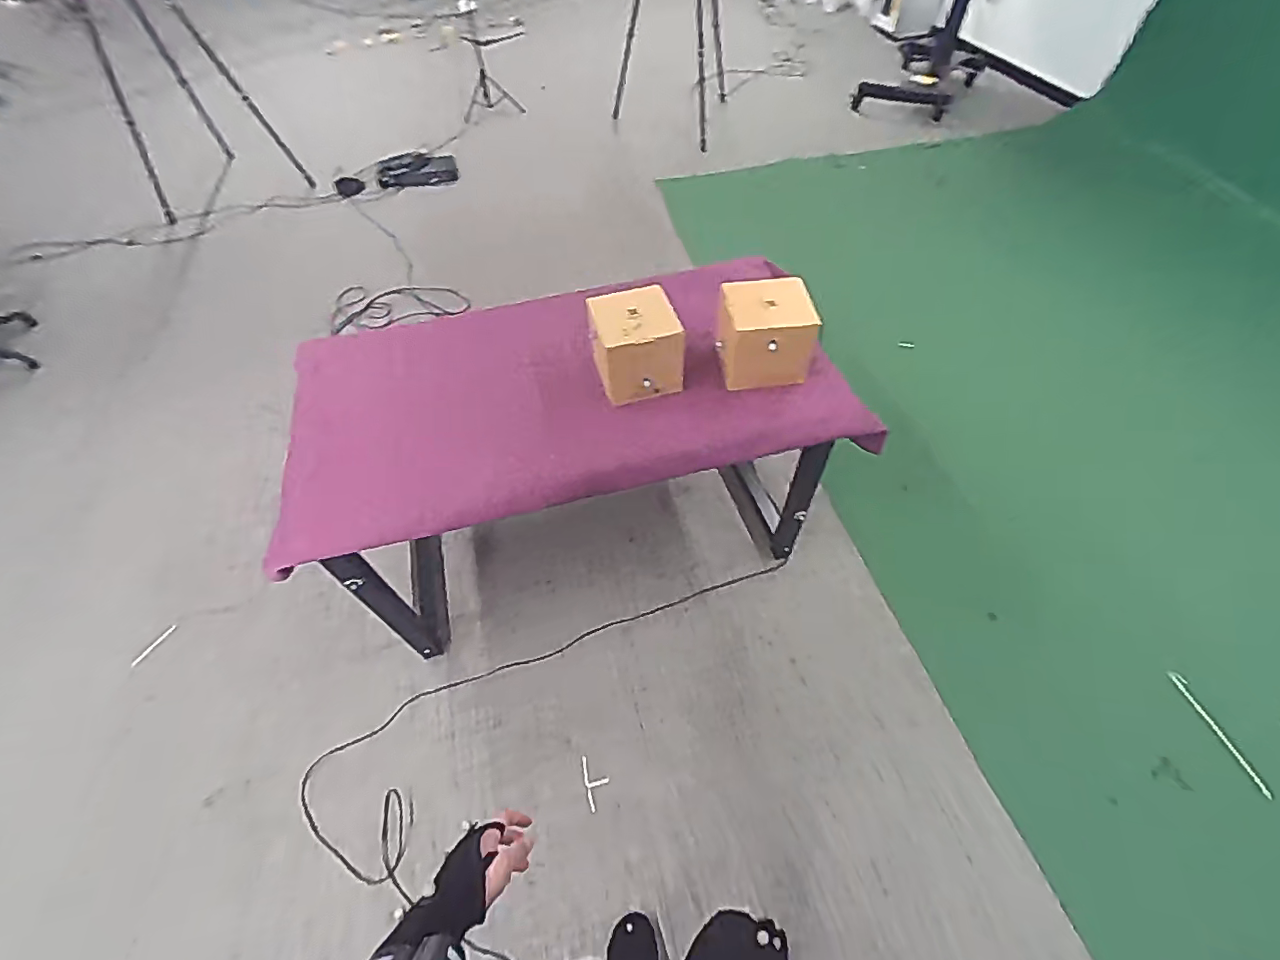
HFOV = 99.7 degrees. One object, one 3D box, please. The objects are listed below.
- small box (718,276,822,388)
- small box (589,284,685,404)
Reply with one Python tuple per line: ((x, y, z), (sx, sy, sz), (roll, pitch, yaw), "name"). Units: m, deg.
((0.276, -0.322, 1.190), (0.179, 0.176, 0.168), (-6, 54, -1), "small box")
((-0.008, -0.295, 1.182), (0.168, 0.176, 0.179), (-14, 55, -7), "small box")
